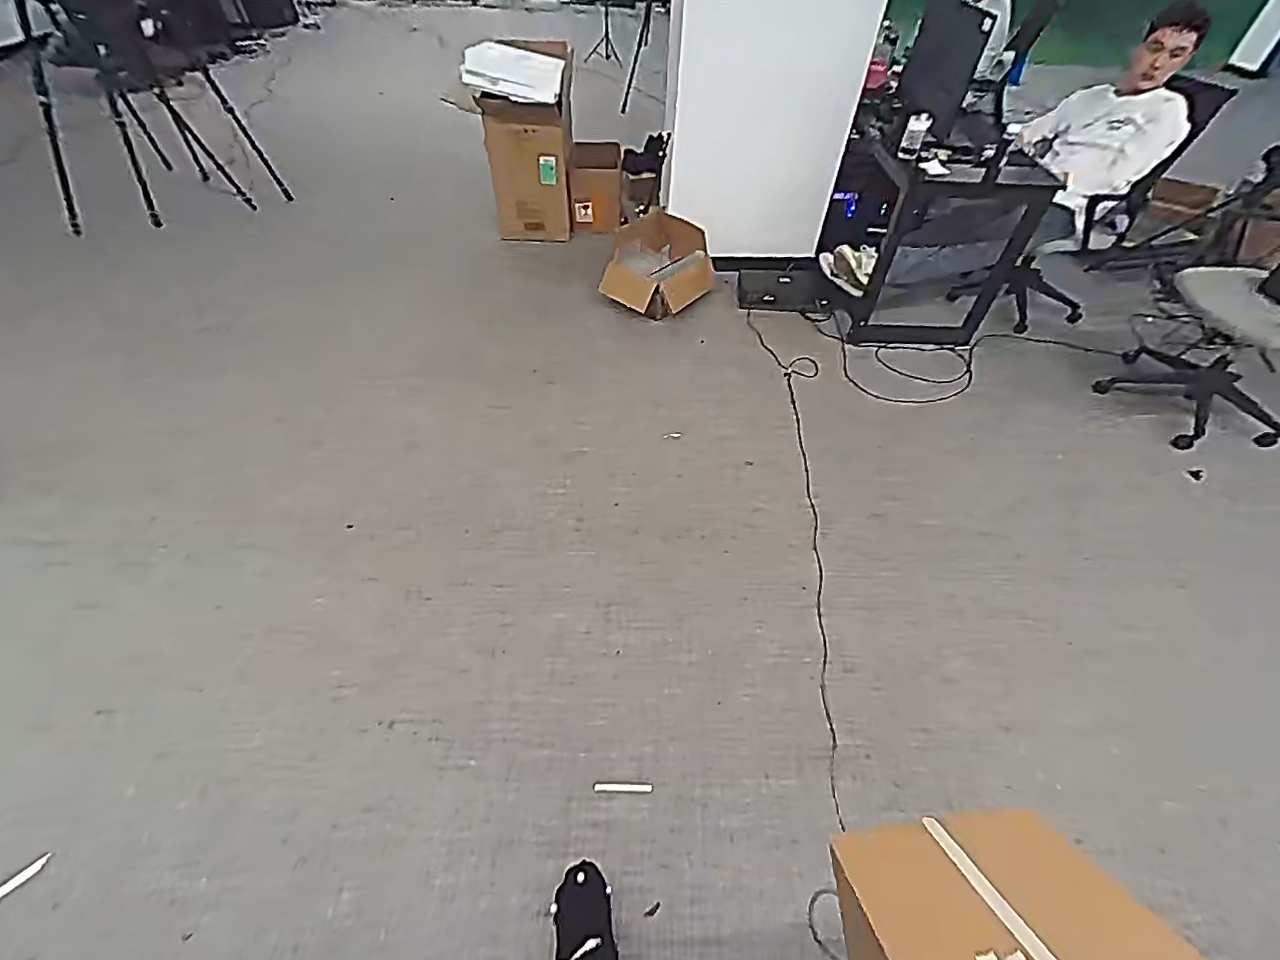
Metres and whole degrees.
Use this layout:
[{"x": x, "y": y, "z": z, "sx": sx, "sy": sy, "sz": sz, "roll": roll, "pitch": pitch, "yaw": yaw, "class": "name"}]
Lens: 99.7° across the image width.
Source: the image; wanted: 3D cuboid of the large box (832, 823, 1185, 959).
[{"x": 0.460, "y": 0.689, "z": 0.634, "sx": 0.320, "sy": 0.408, "sz": 0.320, "roll": -8, "pitch": 89, "yaw": 1, "class": "large box"}]
